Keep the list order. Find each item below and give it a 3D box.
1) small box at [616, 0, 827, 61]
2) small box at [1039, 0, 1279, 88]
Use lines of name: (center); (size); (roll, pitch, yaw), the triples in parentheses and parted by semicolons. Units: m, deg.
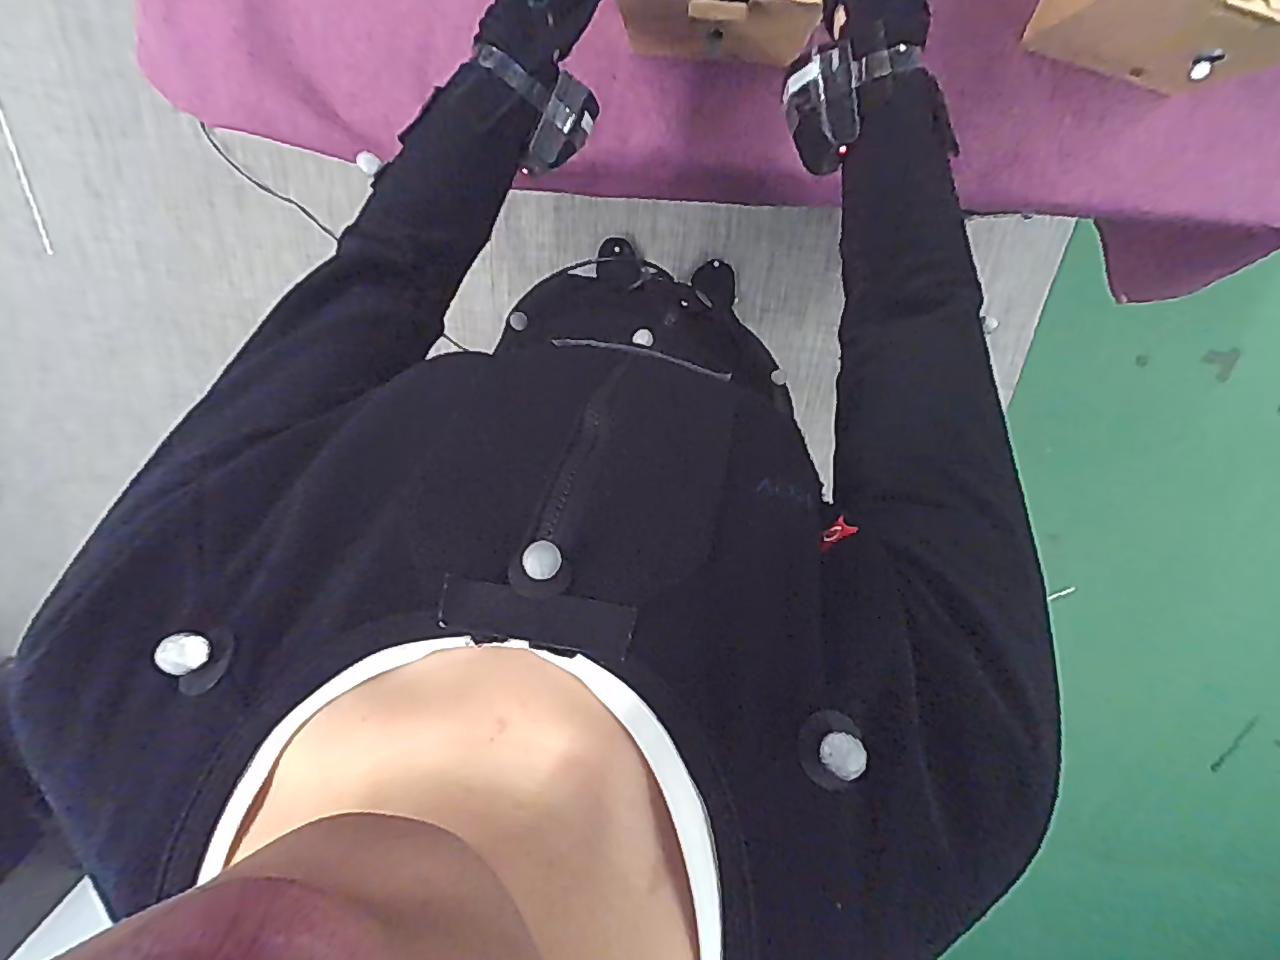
small box: (0.074, -0.468, 0.436); (0.168, 0.176, 0.179); (6, 115, 2)
small box: (0.458, -0.437, 0.414); (0.168, 0.176, 0.179); (16, 115, -2)
